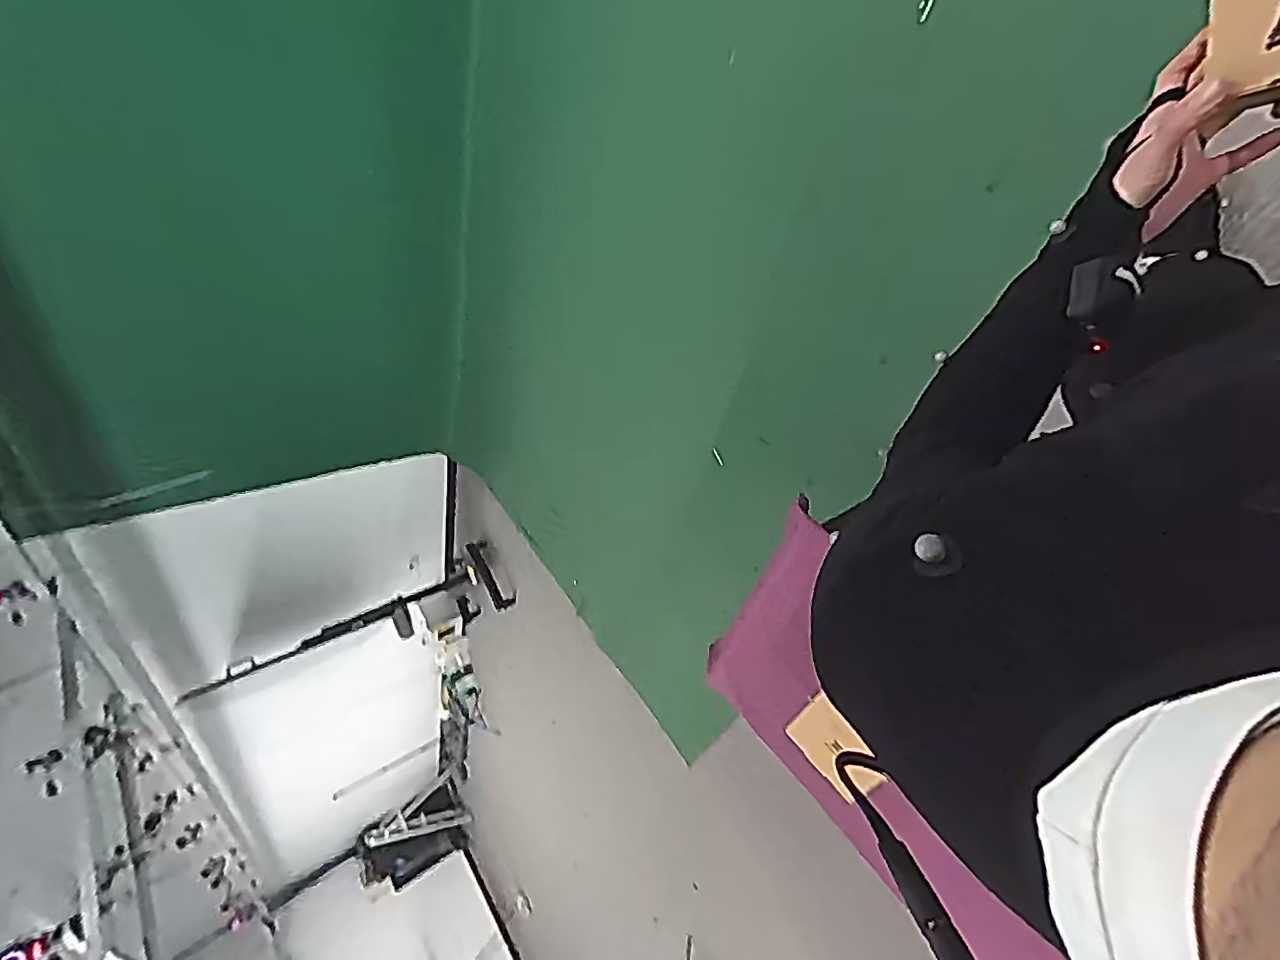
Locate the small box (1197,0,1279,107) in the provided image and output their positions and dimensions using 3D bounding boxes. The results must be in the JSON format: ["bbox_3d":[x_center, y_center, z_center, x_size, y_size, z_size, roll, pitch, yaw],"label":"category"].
[{"bbox_3d":[0.496,-0.370,0.348,0.168,0.176,0.179,8,116,50],"label":"small box"}]

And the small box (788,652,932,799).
[{"bbox_3d":[0.432,0.476,1.061,0.168,0.176,0.179,45,136,29],"label":"small box"}]
